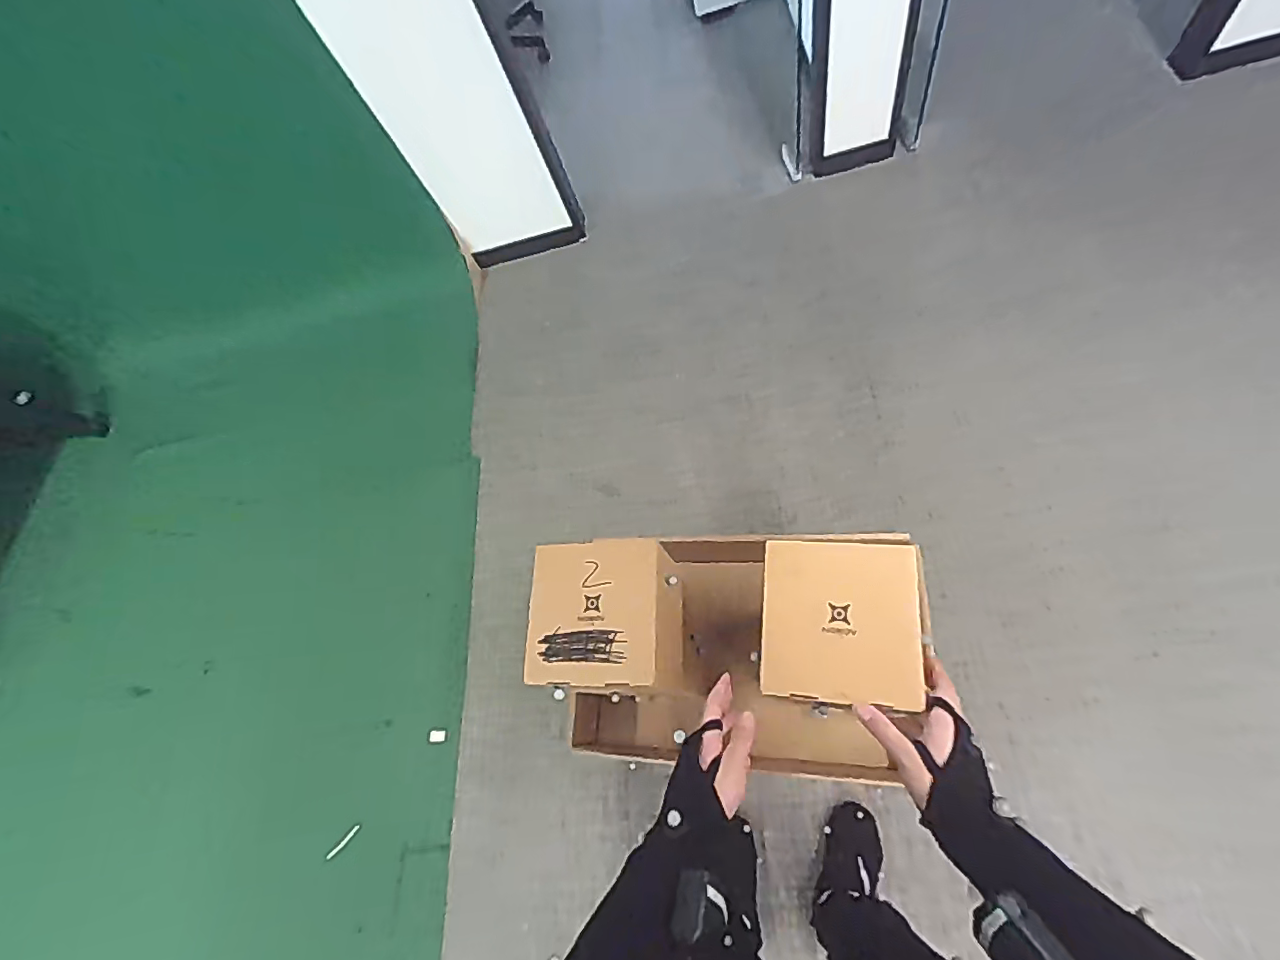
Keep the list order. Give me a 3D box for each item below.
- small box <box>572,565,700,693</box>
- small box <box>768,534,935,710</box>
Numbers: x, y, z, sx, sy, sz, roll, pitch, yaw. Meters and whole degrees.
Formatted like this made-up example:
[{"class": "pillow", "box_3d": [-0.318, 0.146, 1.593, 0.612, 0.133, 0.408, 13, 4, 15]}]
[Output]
[{"class": "small box", "box_3d": [0.002, 0.246, 0.877, 0.168, 0.176, 0.179, -5, 66, 15]}, {"class": "small box", "box_3d": [0.245, 0.176, 0.659, 0.168, 0.176, 0.179, 1, 69, 17]}]
